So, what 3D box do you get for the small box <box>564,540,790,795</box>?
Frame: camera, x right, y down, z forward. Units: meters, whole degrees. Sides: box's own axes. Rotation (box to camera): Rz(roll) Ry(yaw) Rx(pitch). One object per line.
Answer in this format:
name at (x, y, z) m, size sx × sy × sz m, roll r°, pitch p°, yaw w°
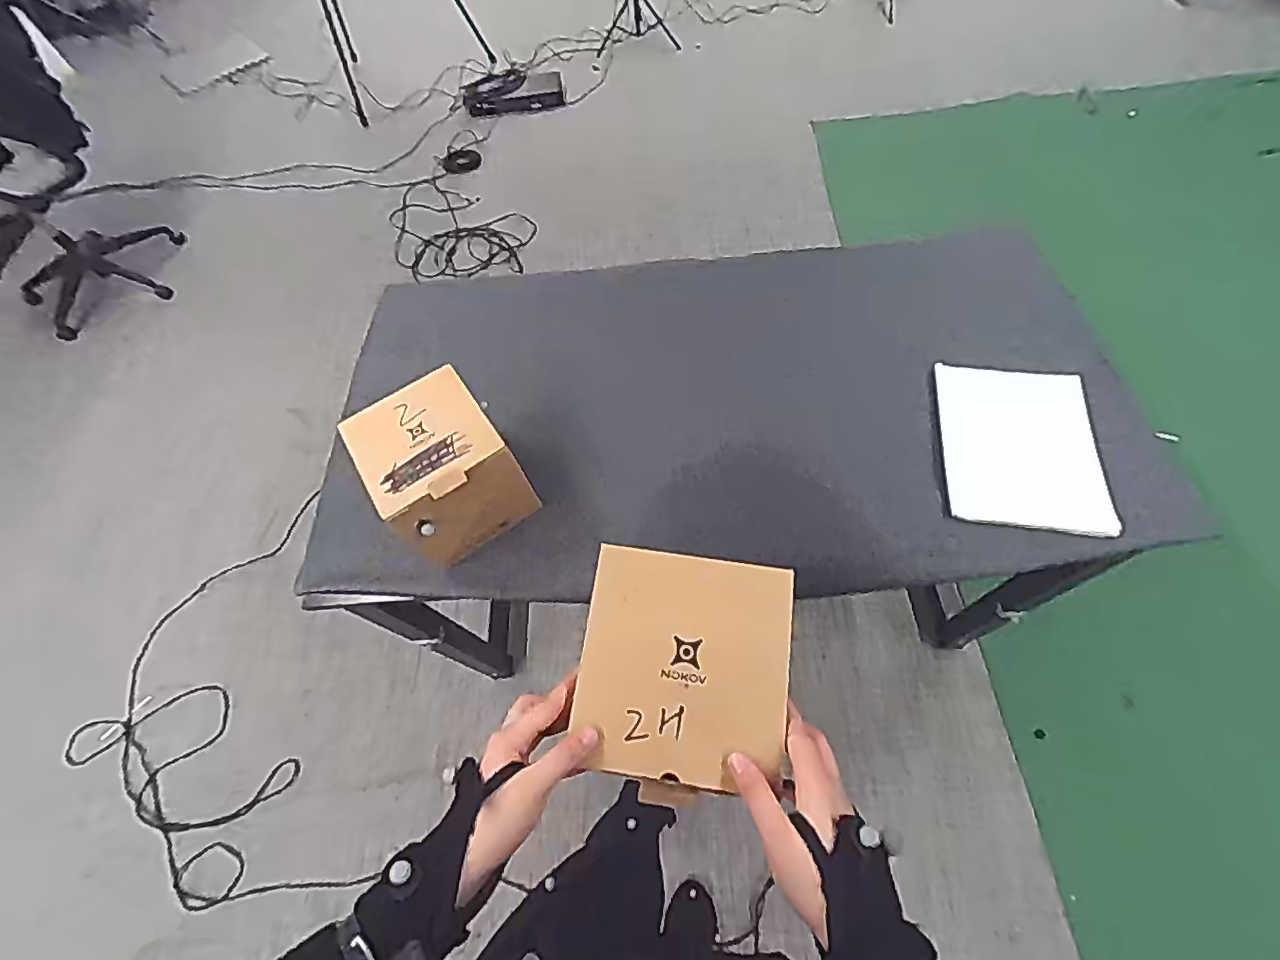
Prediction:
small box at (0.038, 0.170, 0.508) m, size 0.168 × 0.176 × 0.179 m, roll 7°, pitch 70°, yaw 6°
